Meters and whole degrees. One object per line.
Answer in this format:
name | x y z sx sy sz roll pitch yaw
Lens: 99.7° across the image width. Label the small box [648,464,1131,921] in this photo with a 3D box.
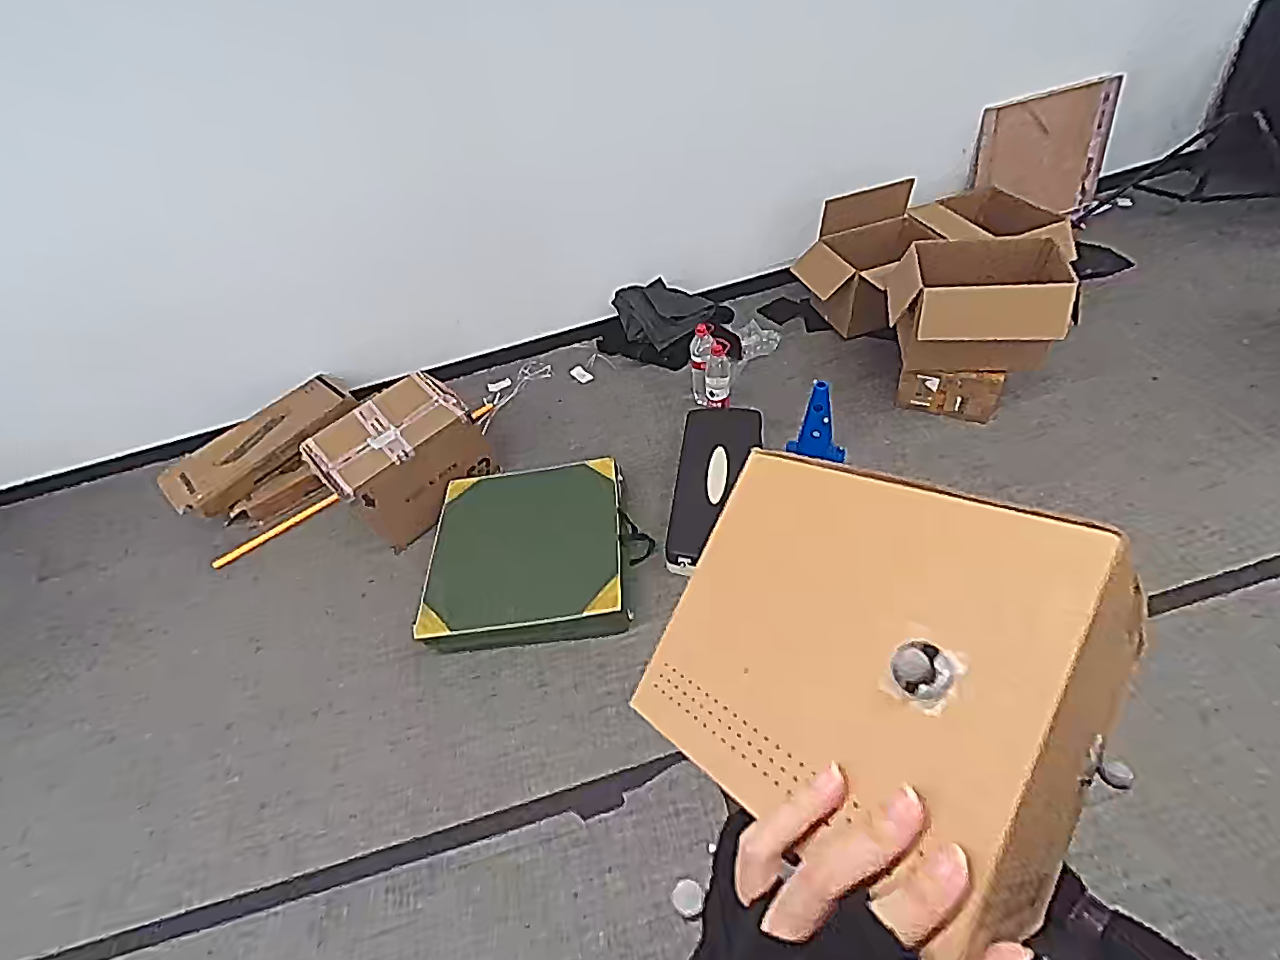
small box | 0.139 0.113 0.316 0.179 0.168 0.176 19 80 50
